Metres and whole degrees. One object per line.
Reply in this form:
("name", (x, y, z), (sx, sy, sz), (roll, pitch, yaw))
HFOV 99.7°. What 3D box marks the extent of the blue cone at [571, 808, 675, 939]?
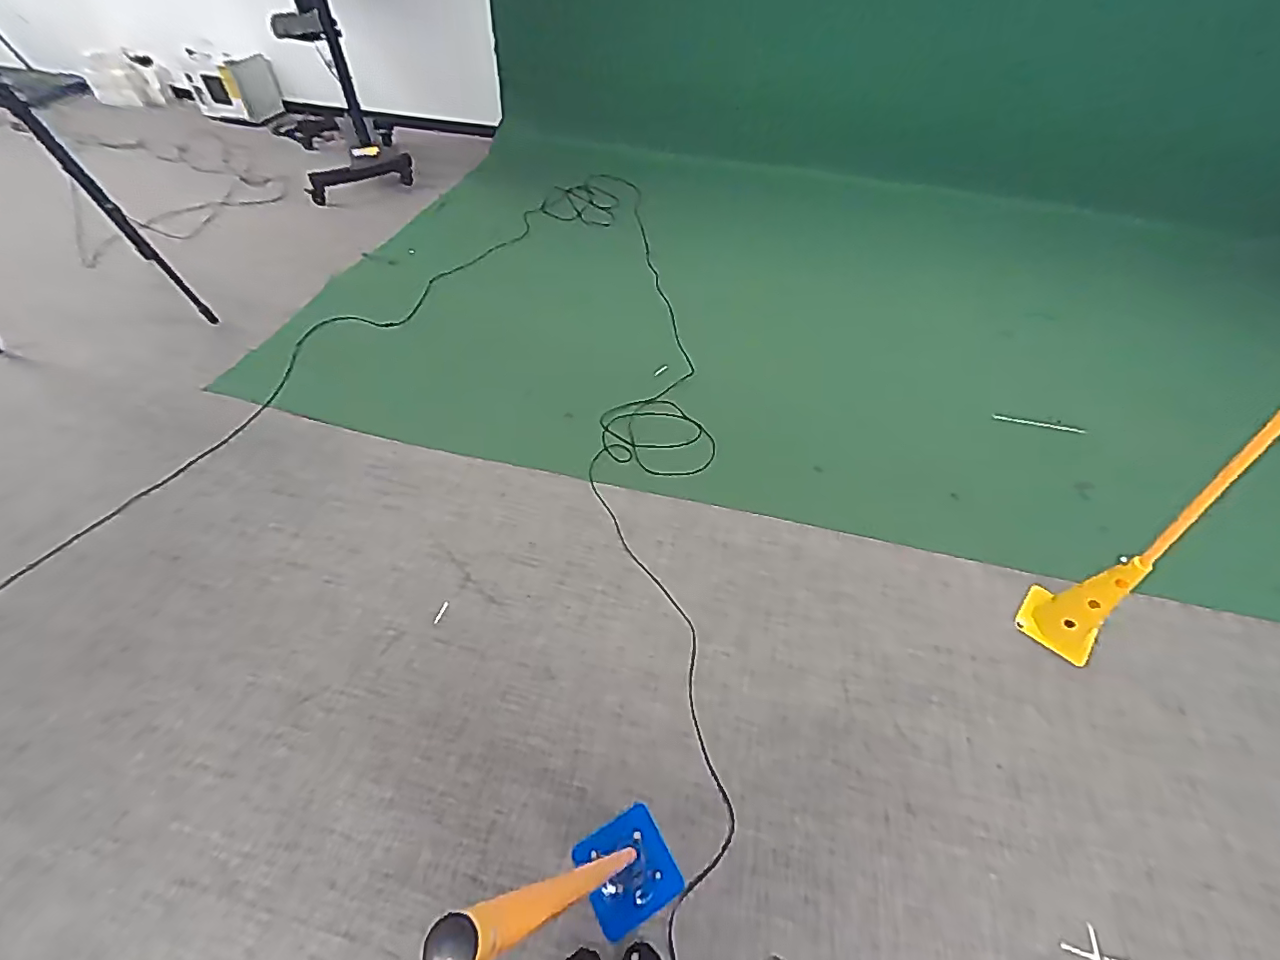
("blue cone", (-0.033, 0.766, 1.069), (0.193, 0.380, 0.192), (-25, 56, -20))
